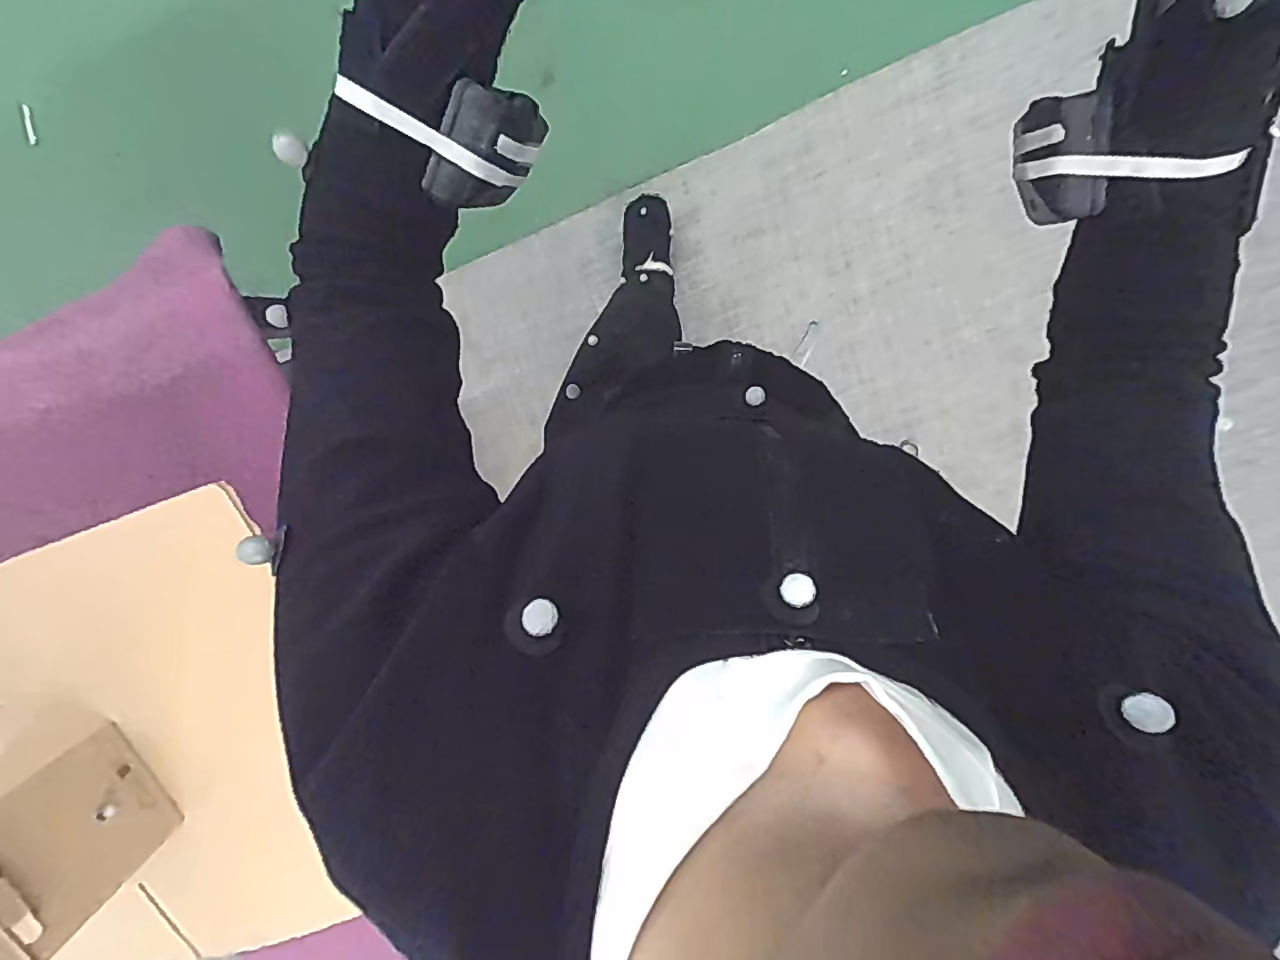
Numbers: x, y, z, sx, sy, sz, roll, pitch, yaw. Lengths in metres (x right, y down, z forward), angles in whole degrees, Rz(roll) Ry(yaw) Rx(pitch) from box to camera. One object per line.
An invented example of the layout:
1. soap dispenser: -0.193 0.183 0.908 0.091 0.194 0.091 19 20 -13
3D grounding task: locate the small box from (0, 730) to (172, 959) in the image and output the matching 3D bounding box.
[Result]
1. small box: -0.690 0.412 0.595 0.179 0.176 0.168 -18 106 8
